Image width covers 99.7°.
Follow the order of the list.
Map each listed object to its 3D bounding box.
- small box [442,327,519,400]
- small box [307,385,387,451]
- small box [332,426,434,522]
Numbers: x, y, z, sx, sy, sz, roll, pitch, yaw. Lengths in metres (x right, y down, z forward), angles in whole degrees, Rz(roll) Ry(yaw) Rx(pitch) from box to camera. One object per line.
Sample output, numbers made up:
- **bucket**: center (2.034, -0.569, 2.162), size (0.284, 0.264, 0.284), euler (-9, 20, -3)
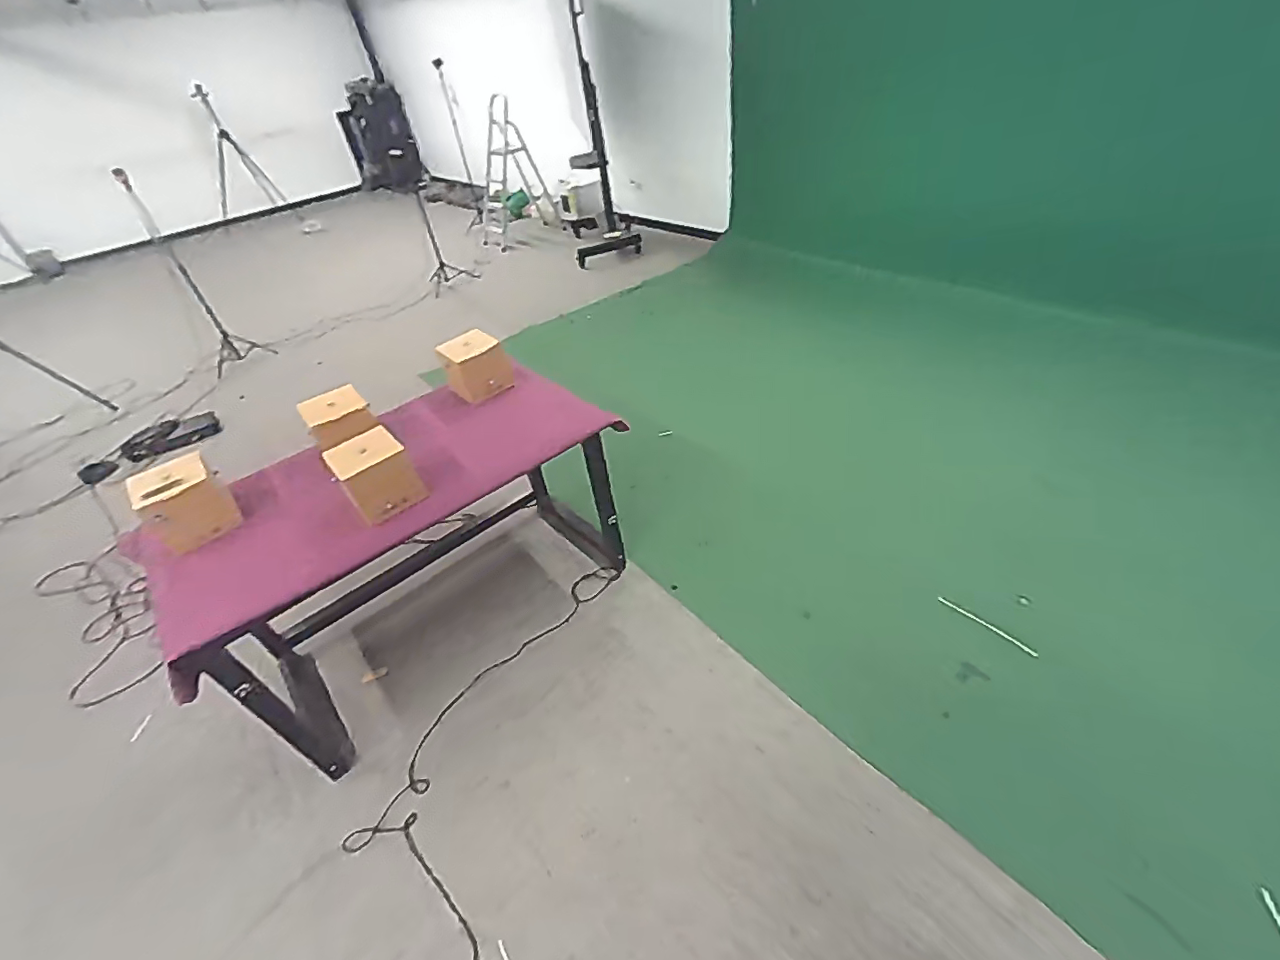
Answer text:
- **small box**: center (-0.547, -0.399, 1.864), size (0.168, 0.176, 0.179), euler (-37, 48, -23)
- **small box**: center (-0.890, -0.164, 1.674), size (0.168, 0.176, 0.179), euler (-32, 47, -24)
- **small box**: center (-0.691, -0.015, 1.462), size (0.168, 0.176, 0.179), euler (-34, 45, -24)
